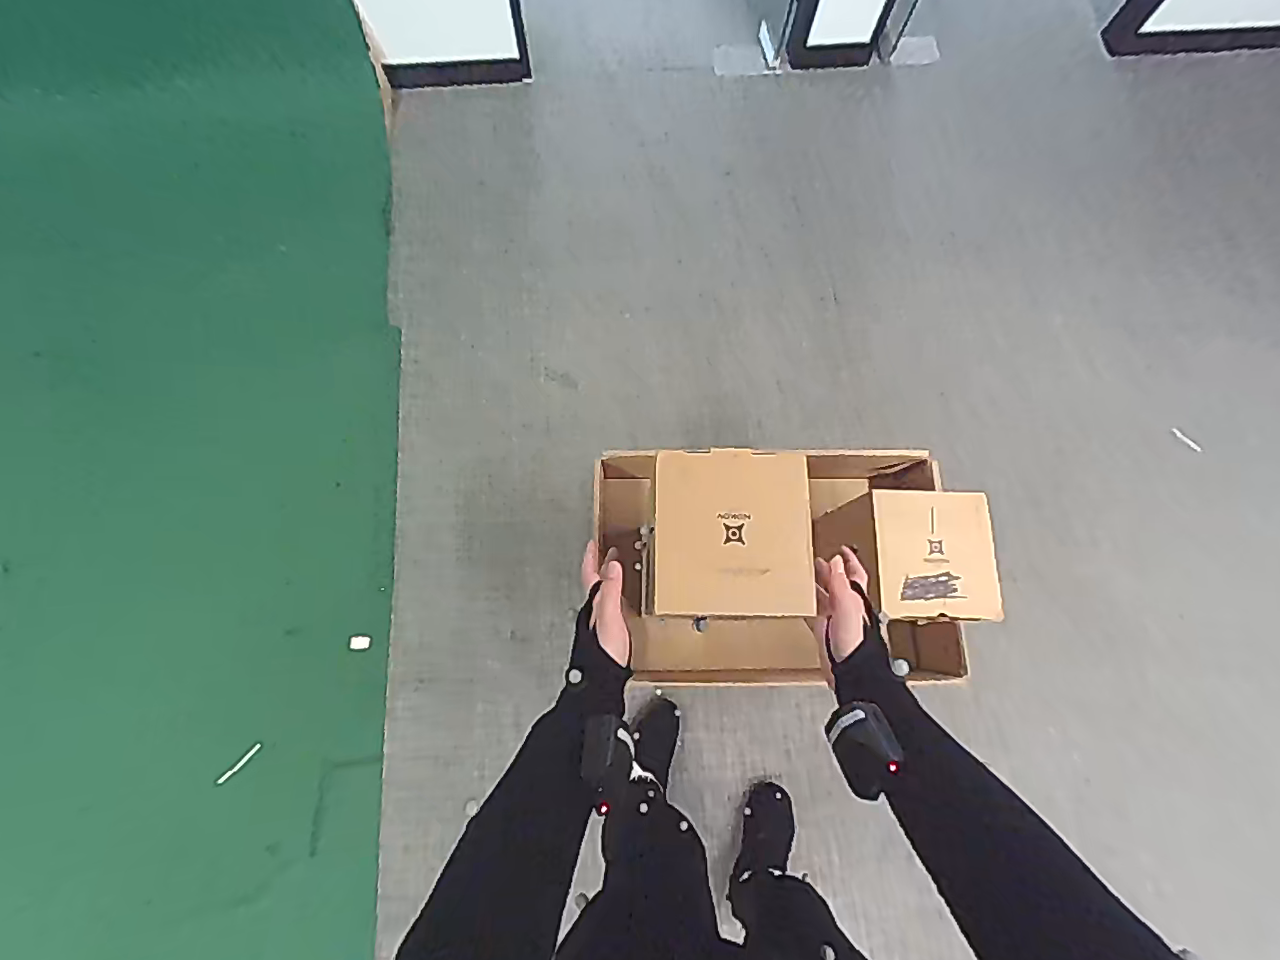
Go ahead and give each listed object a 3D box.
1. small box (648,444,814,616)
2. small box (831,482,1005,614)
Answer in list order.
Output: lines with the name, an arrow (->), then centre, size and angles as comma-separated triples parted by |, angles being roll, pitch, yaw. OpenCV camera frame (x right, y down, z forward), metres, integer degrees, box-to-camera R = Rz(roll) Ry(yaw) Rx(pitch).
small box -> 0.094, 0.067, 0.639 | 0.168, 0.176, 0.179 | 1, 76, 0
small box -> 0.396, 0.107, 0.803 | 0.168, 0.176, 0.179 | 1, 76, -1
